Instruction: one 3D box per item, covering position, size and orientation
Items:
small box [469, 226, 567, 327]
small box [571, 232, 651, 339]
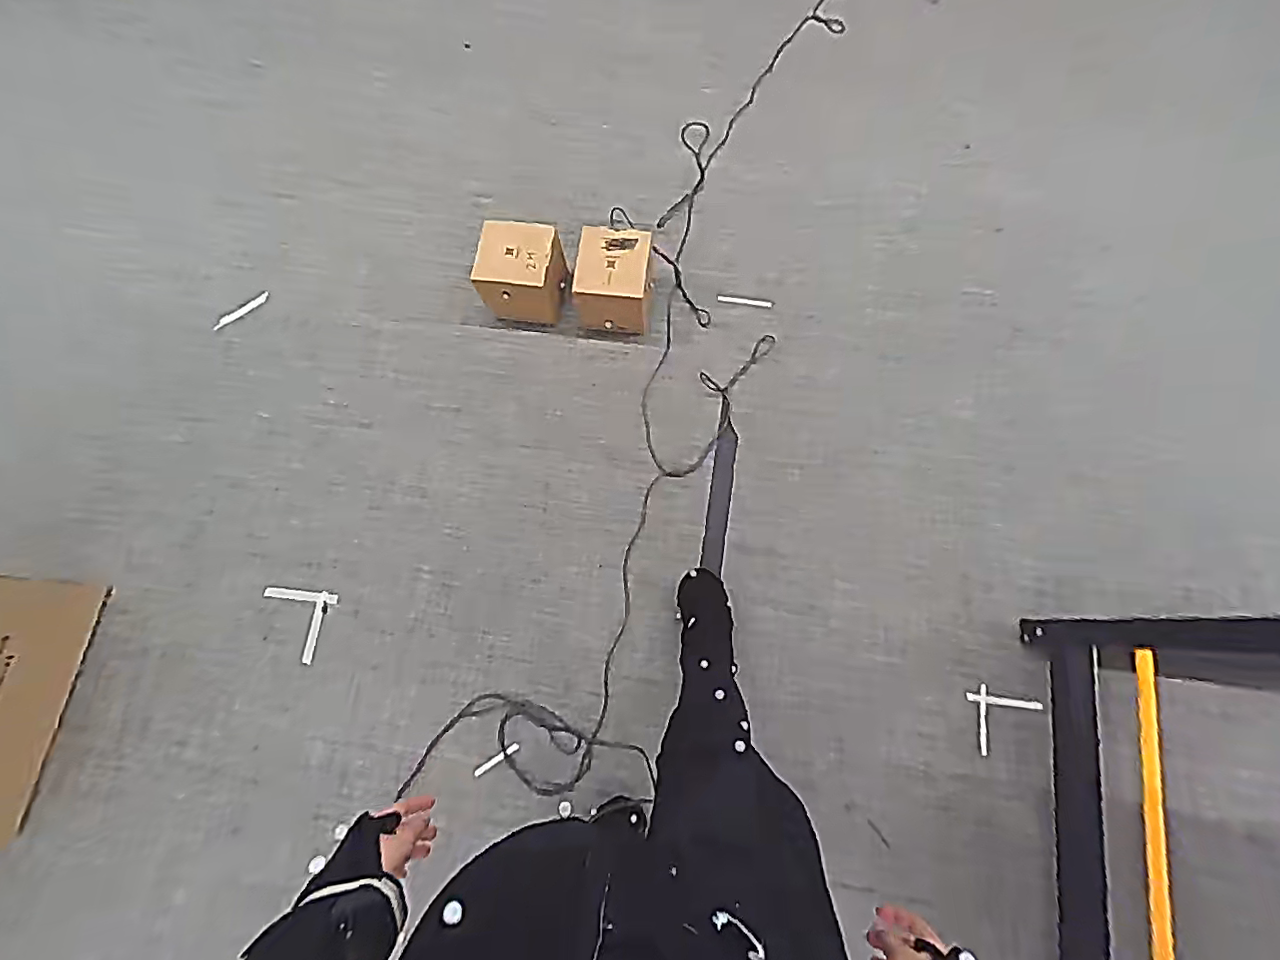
[{"bbox_3d":[-0.294,-0.496,1.337,0.179,0.176,0.168,8,76,5],"label":"small box"},{"bbox_3d":[-0.065,-0.470,1.322,0.168,0.176,0.179,7,77,4],"label":"small box"}]
